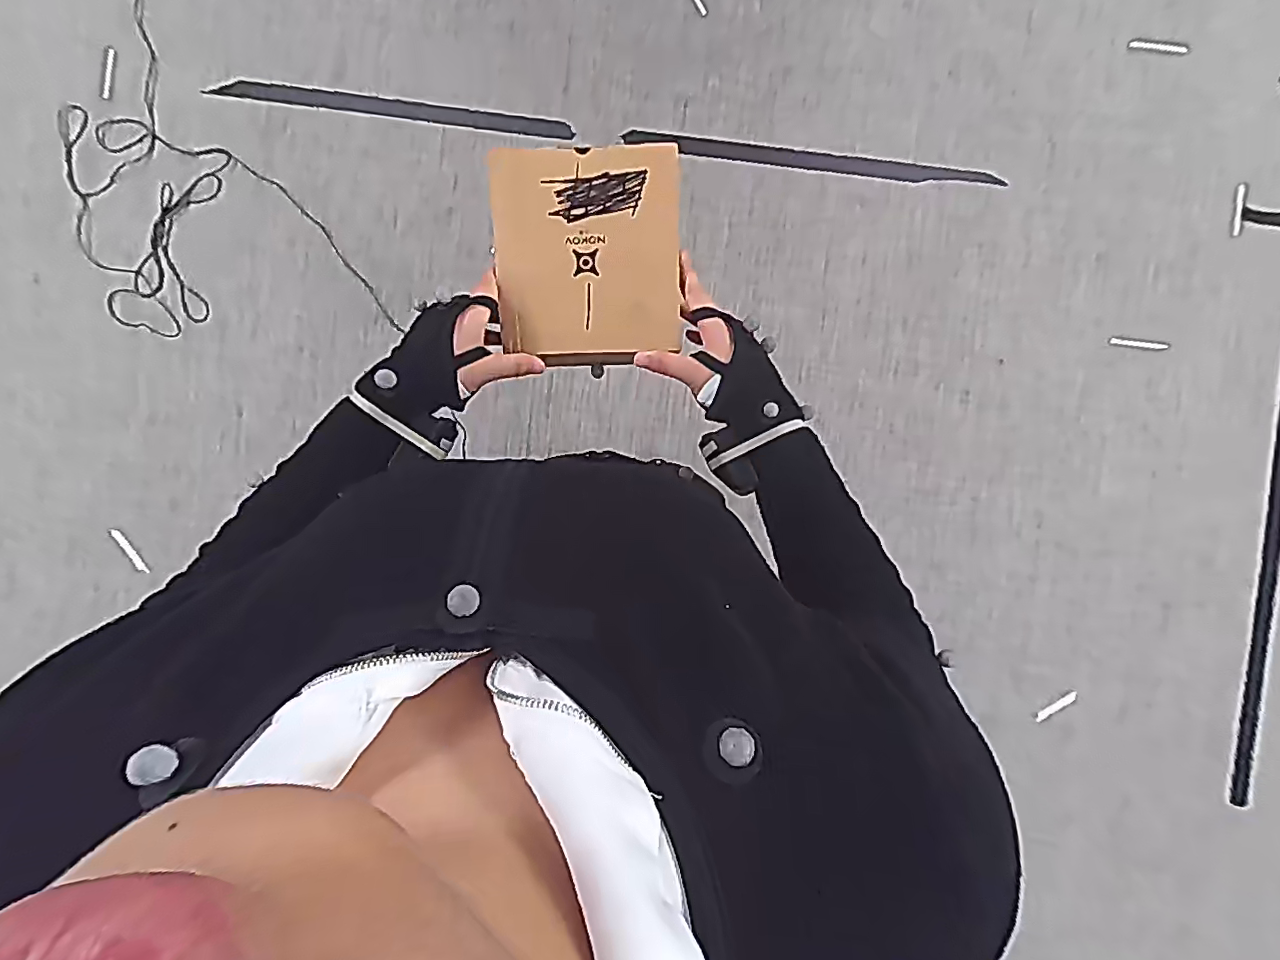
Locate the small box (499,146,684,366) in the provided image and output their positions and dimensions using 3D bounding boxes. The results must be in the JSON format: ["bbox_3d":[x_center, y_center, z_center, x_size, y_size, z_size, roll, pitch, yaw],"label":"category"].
[{"bbox_3d":[-0.041,-0.215,0.562,0.168,0.176,0.179,-1,98,2],"label":"small box"}]
